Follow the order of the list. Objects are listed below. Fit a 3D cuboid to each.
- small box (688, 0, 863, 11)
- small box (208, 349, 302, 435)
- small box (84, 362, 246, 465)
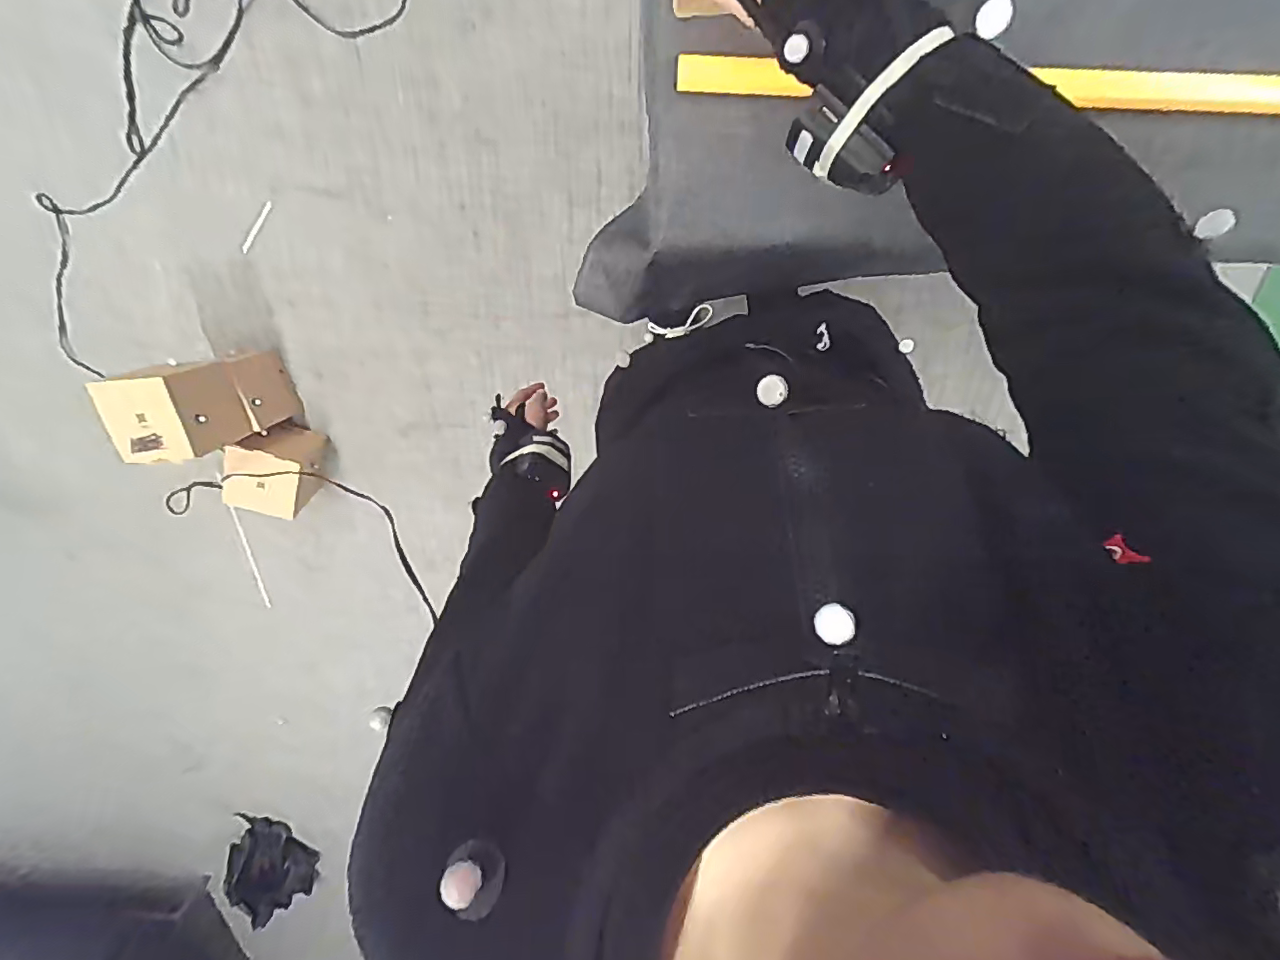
[{"bbox_3d":[0.102,-0.432,0.342,0.168,0.176,0.179,-1,114,4],"label":"small box"},{"bbox_3d":[-0.979,-0.207,1.312,0.179,0.176,0.168,-9,117,9],"label":"small box"},{"bbox_3d":[-0.997,-0.145,1.156,0.168,0.176,0.179,-3,113,4],"label":"small box"}]
